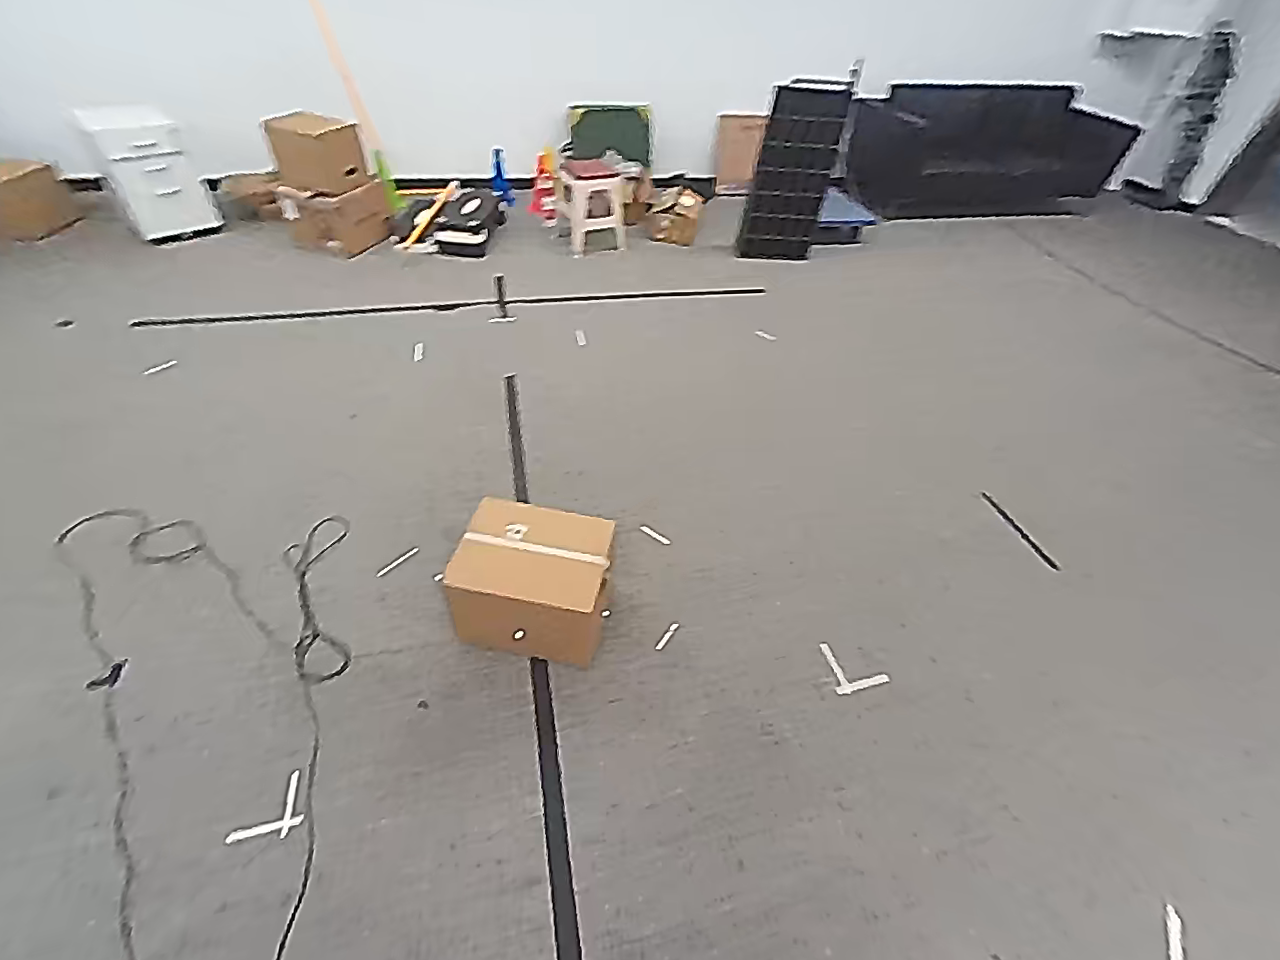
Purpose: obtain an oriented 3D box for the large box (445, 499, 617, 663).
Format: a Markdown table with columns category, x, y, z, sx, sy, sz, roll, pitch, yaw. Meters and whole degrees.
| category | x | y | z | sx | sy | sz | roll | pitch | yaw |
| --- | --- | --- | --- | --- | --- | --- | --- | --- | --- |
| large box | -0.292 | 0.298 | 1.586 | 0.408 | 0.320 | 0.320 | 10 | 45 | 5 |
